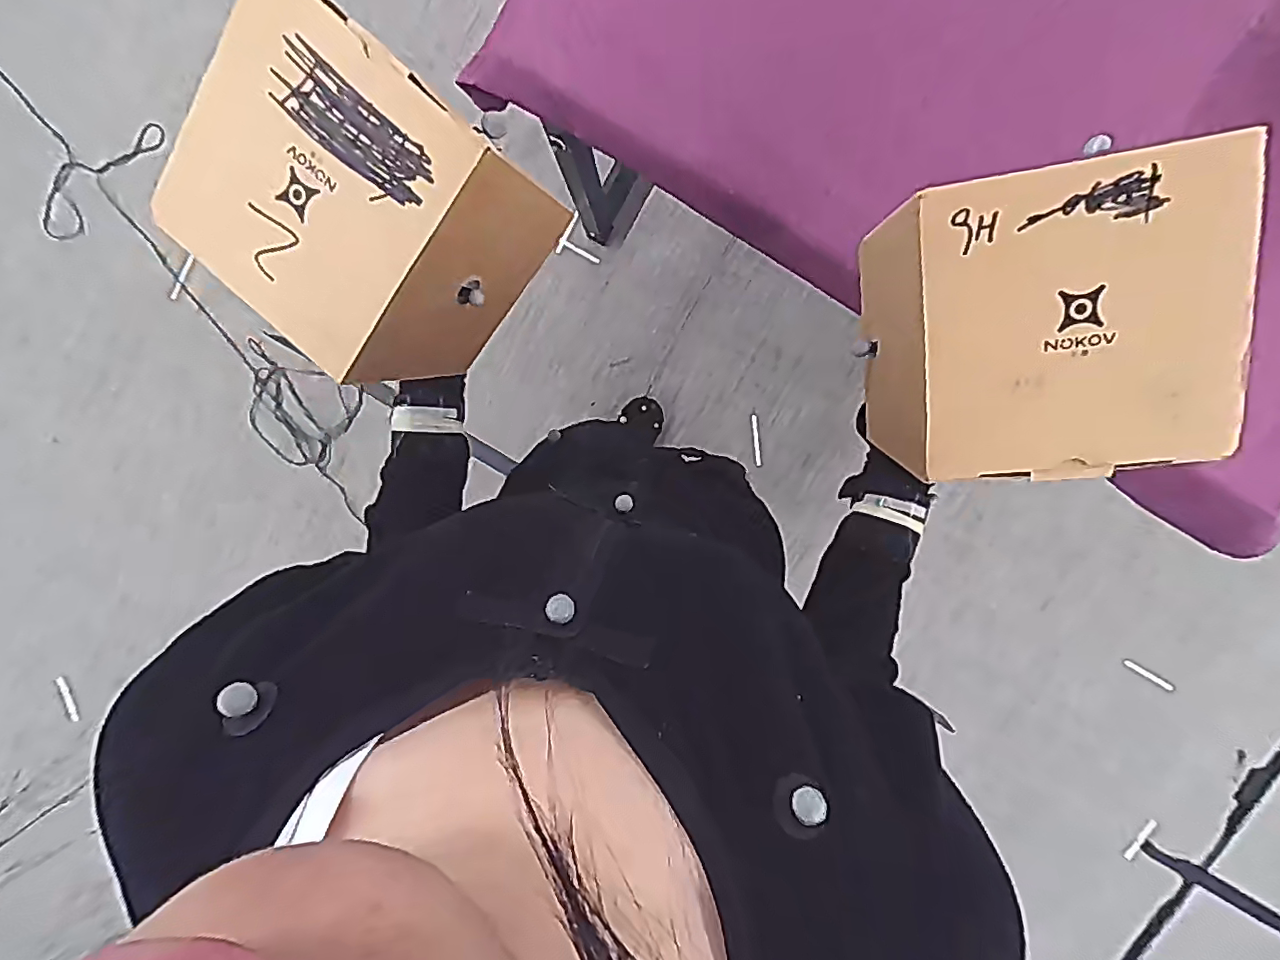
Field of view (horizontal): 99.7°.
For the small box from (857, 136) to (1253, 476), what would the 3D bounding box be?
[{"bbox_3d":[0.262,-0.112,0.393,0.168,0.176,0.179,-5,104,11],"label":"small box"}]
